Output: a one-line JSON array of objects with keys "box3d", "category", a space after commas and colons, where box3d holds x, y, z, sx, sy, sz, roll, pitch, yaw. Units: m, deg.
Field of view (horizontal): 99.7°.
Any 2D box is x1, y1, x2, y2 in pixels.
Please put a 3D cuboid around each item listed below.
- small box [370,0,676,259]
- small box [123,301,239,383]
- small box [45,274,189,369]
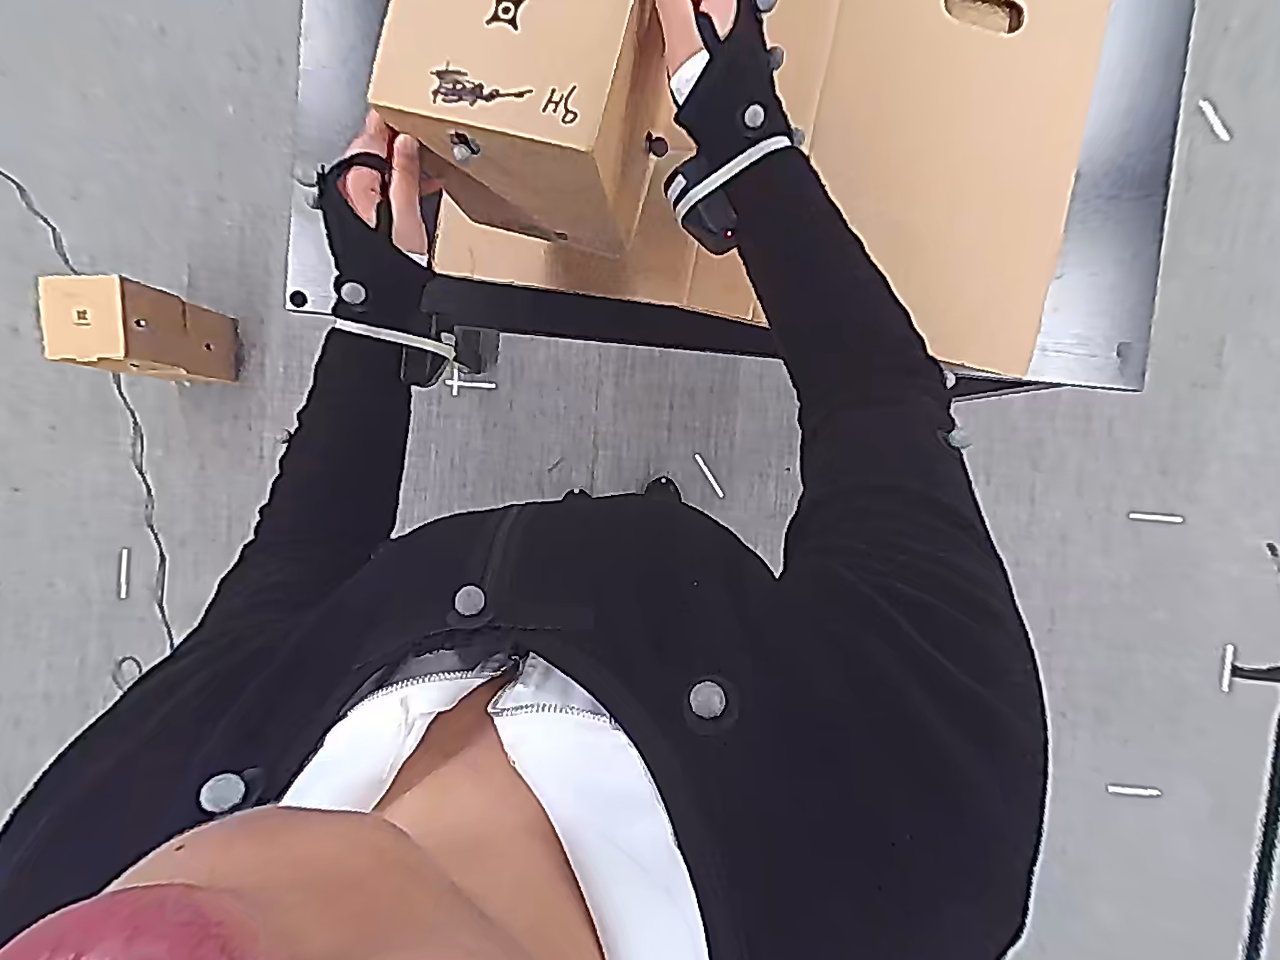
[{"box3d": [-0.072, -0.313, 0.434, 0.168, 0.176, 0.179, 17, 89, 7], "category": "small box"}, {"box3d": [-1.161, -0.348, 1.374, 0.168, 0.176, 0.179, 1, 94, -1], "category": "small box"}, {"box3d": [-1.159, -0.346, 1.212, 0.168, 0.176, 0.179, -2, 92, -2], "category": "small box"}]
